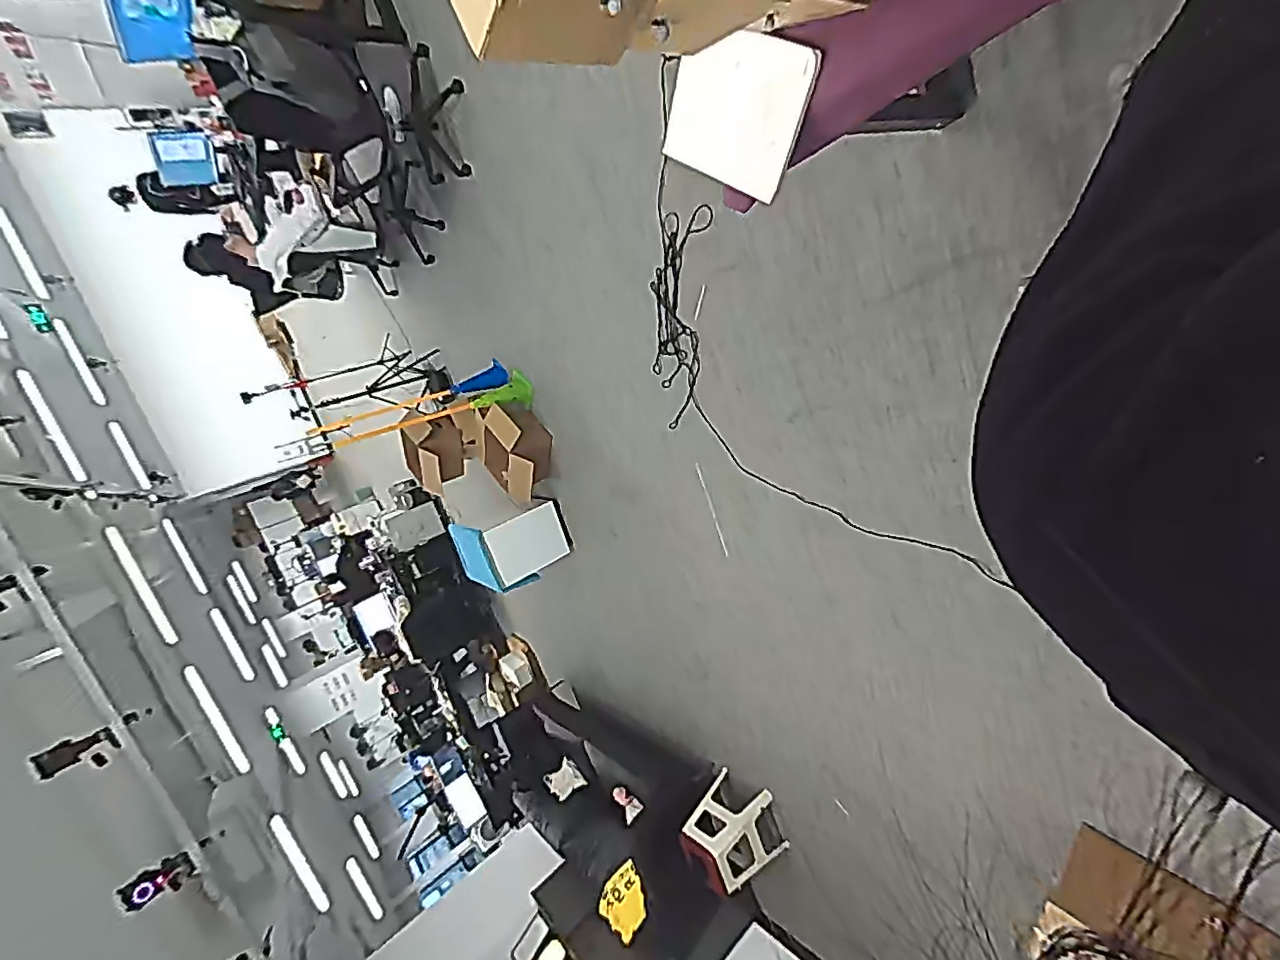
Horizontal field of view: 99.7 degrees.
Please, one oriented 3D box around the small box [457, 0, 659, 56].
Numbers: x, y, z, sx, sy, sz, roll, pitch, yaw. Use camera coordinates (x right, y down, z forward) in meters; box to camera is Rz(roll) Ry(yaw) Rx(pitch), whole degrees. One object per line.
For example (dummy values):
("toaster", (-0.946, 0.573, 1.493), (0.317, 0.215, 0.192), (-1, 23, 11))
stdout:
("small box", (-0.075, -0.517, 0.477), (0.168, 0.176, 0.179), (-16, 99, 58))
